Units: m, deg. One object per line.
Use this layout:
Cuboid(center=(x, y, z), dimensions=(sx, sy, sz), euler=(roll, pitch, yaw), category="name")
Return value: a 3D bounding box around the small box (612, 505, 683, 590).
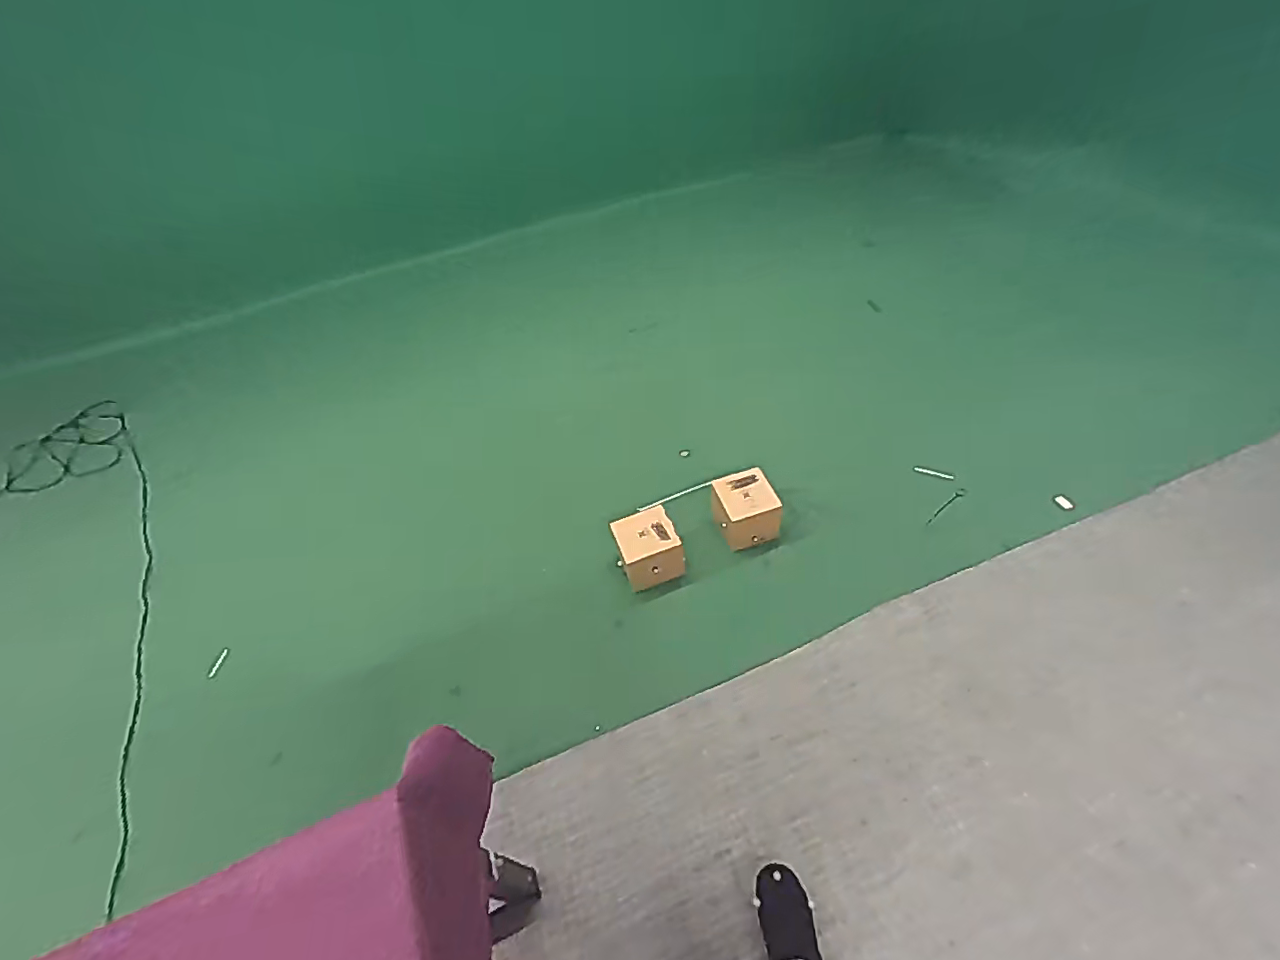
Cuboid(center=(0.028, 0.213, 1.685), dimensions=(0.179, 0.176, 0.168), euler=(-20, 49, -7), category="small box")
